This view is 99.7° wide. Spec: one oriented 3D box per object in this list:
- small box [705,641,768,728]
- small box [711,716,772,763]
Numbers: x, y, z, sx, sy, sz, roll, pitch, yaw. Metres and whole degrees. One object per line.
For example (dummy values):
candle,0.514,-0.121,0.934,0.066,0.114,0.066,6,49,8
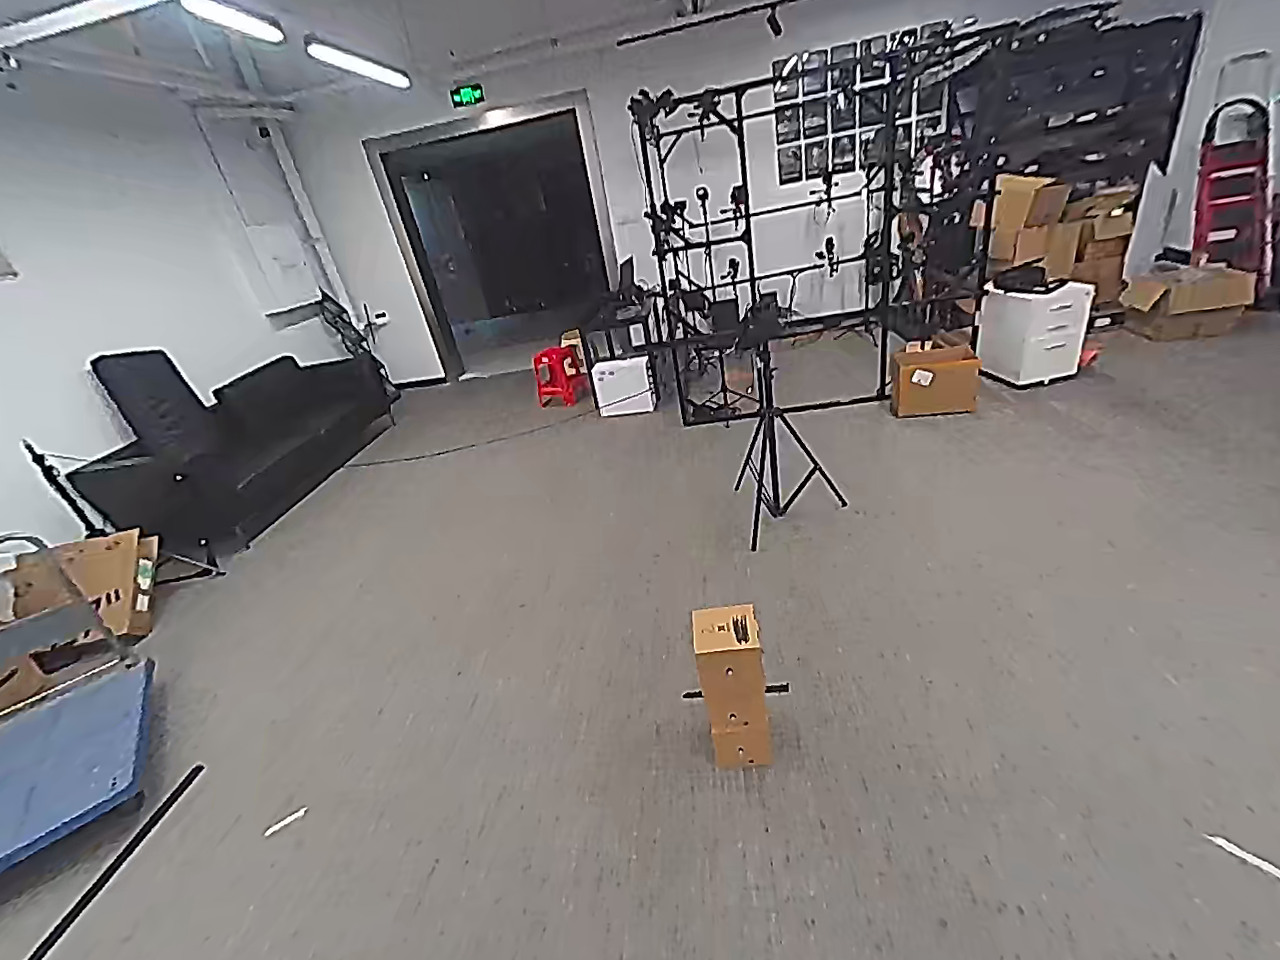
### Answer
small box,0.283,0.604,1.602,0.168,0.176,0.179,-7,28,9
small box,0.308,0.750,1.669,0.168,0.176,0.179,-8,27,7
